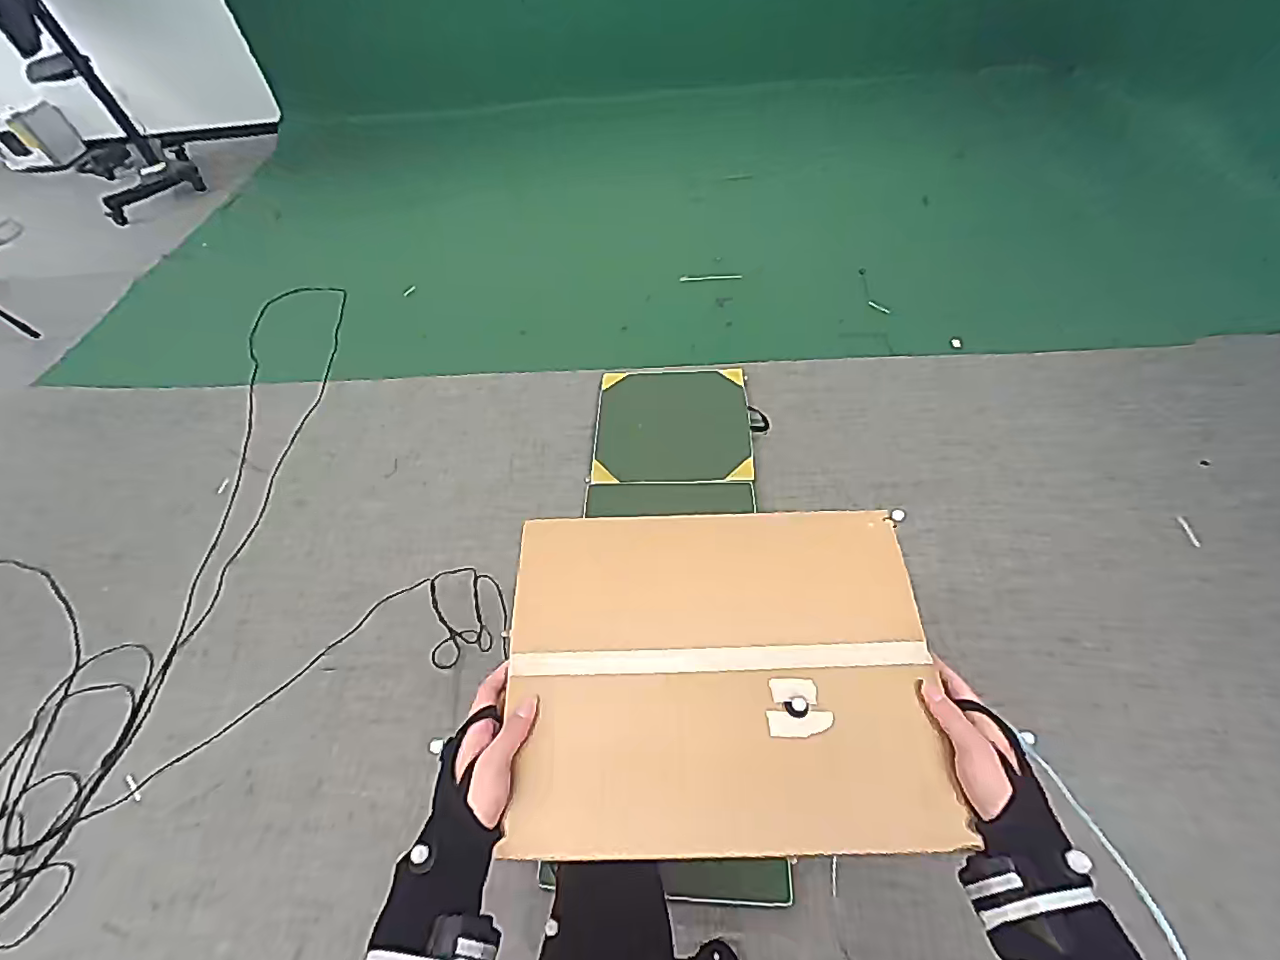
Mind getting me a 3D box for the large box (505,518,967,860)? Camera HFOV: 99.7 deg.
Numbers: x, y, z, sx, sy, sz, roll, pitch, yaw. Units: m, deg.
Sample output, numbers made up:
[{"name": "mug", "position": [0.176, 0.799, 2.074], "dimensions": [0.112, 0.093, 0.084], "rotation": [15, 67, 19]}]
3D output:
[{"name": "large box", "position": [0.078, 0.259, 0.661], "dimensions": [0.408, 0.320, 0.320], "rotation": [-2, 59, 0]}]
